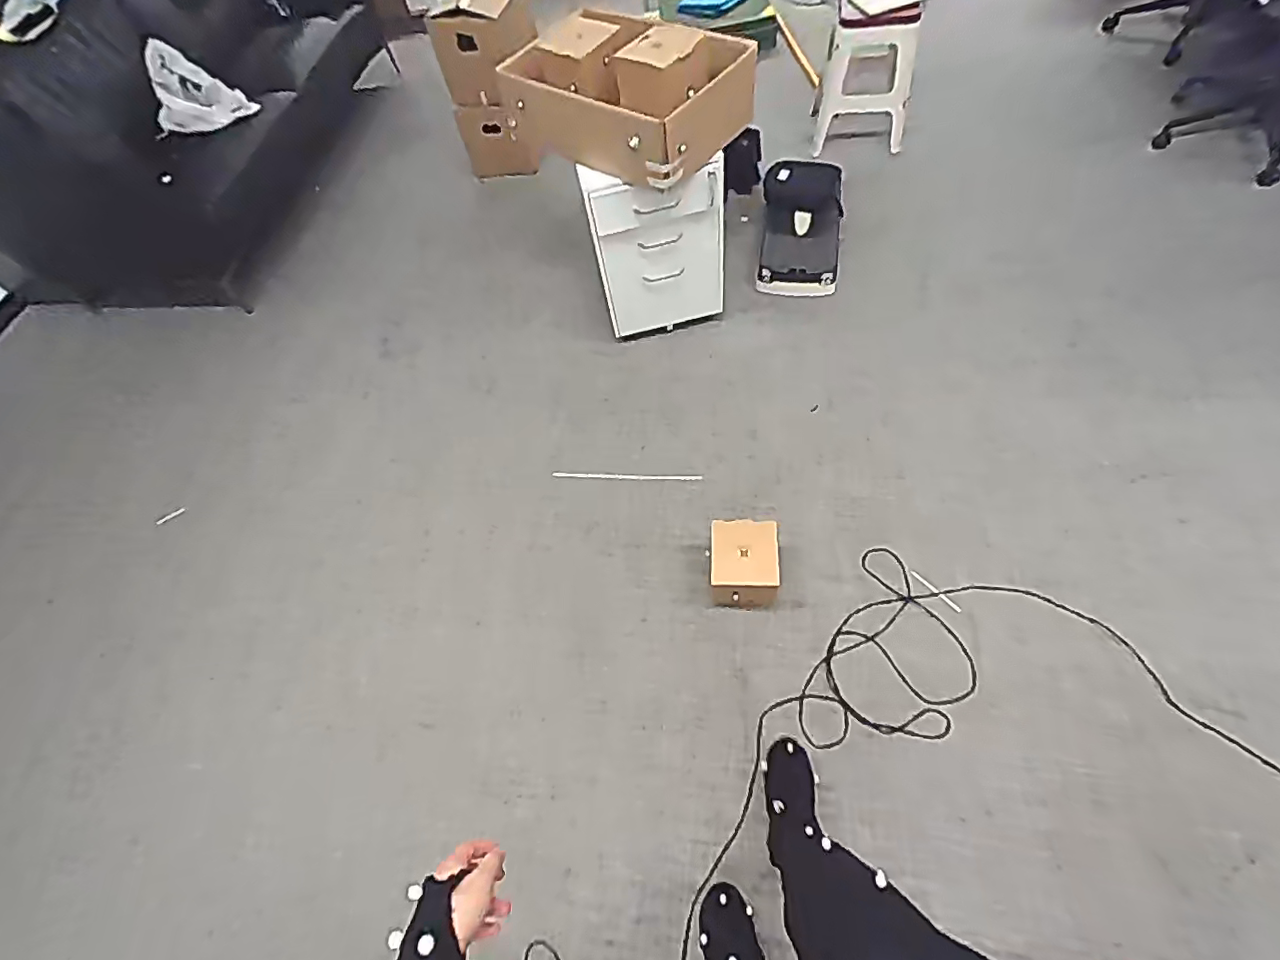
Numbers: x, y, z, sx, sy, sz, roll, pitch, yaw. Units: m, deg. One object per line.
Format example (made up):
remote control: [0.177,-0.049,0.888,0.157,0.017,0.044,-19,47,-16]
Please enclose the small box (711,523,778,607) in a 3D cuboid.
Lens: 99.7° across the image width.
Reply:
small box: [0.272,0.227,1.421,0.168,0.176,0.179,-1,59,9]
